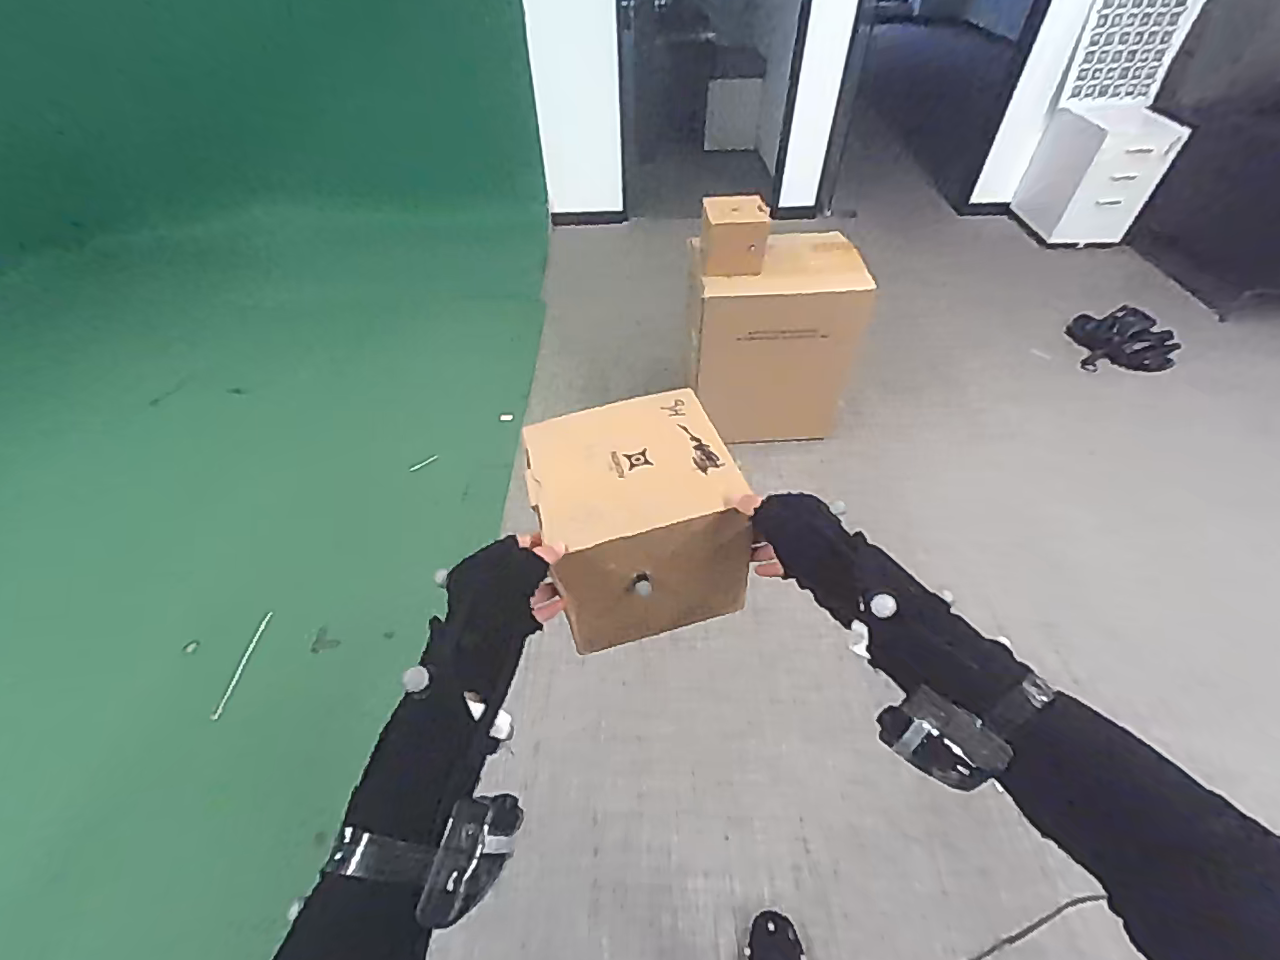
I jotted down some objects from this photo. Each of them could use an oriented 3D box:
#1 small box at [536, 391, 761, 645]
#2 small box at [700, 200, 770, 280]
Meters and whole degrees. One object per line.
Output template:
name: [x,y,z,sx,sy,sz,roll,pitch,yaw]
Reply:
small box: [0.007,0.040,0.543,0.179,0.176,0.168,-14,46,-7]
small box: [0.288,-0.739,1.671,0.179,0.176,0.168,-4,51,-1]
